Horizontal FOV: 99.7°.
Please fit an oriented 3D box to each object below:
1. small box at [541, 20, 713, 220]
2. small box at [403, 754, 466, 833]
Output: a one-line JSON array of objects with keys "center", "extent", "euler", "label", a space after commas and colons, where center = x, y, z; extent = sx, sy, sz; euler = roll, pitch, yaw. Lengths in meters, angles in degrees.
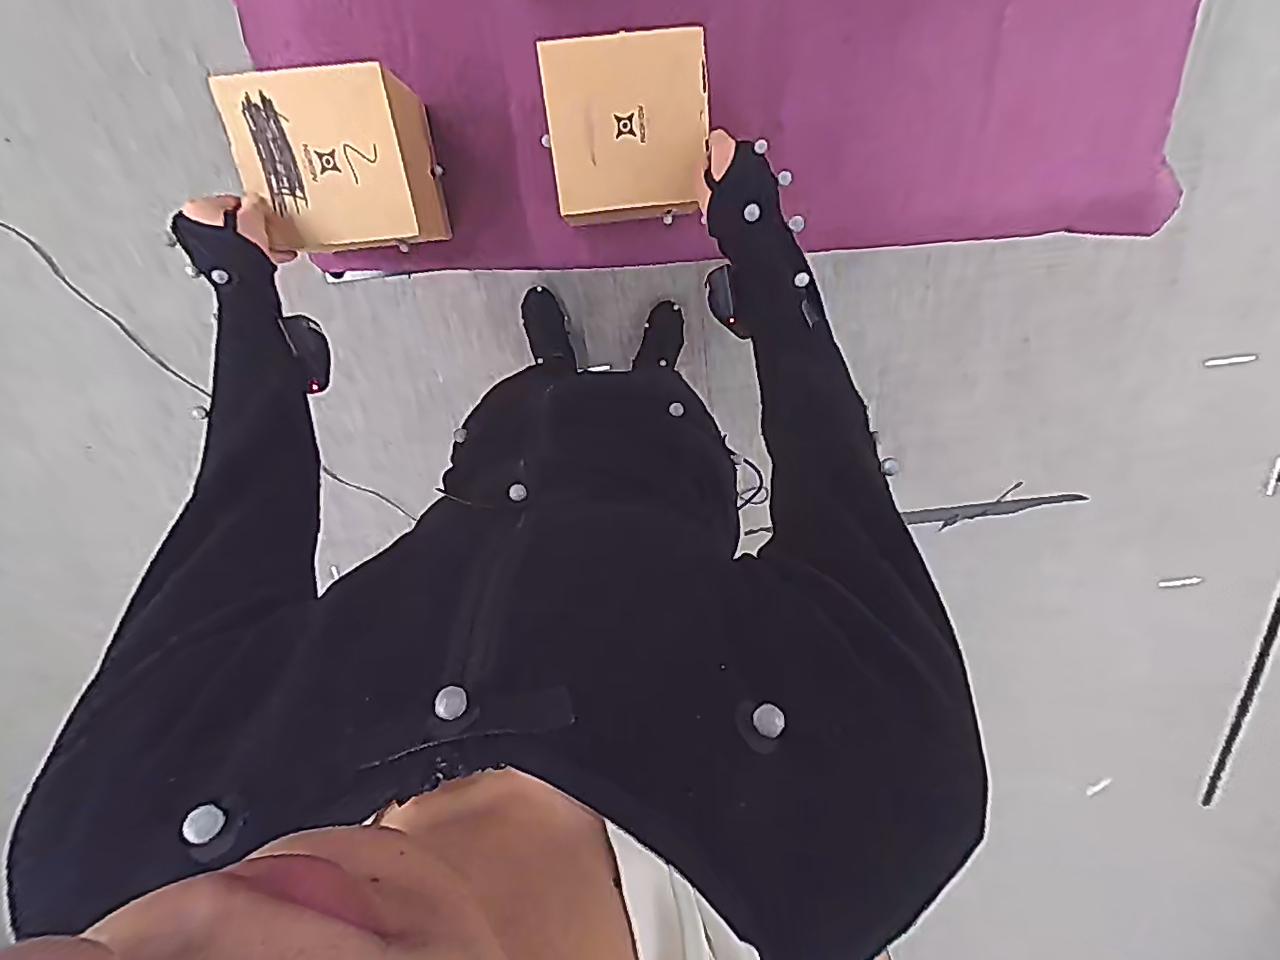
[{"center": [-0.016, -0.419, 0.656], "extent": [0.179, 0.176, 0.168], "euler": [-7, 111, -2], "label": "small box"}, {"center": [-0.759, 1.162, 2.008], "extent": [0.168, 0.176, 0.179], "euler": [16, 110, -9], "label": "small box"}]
